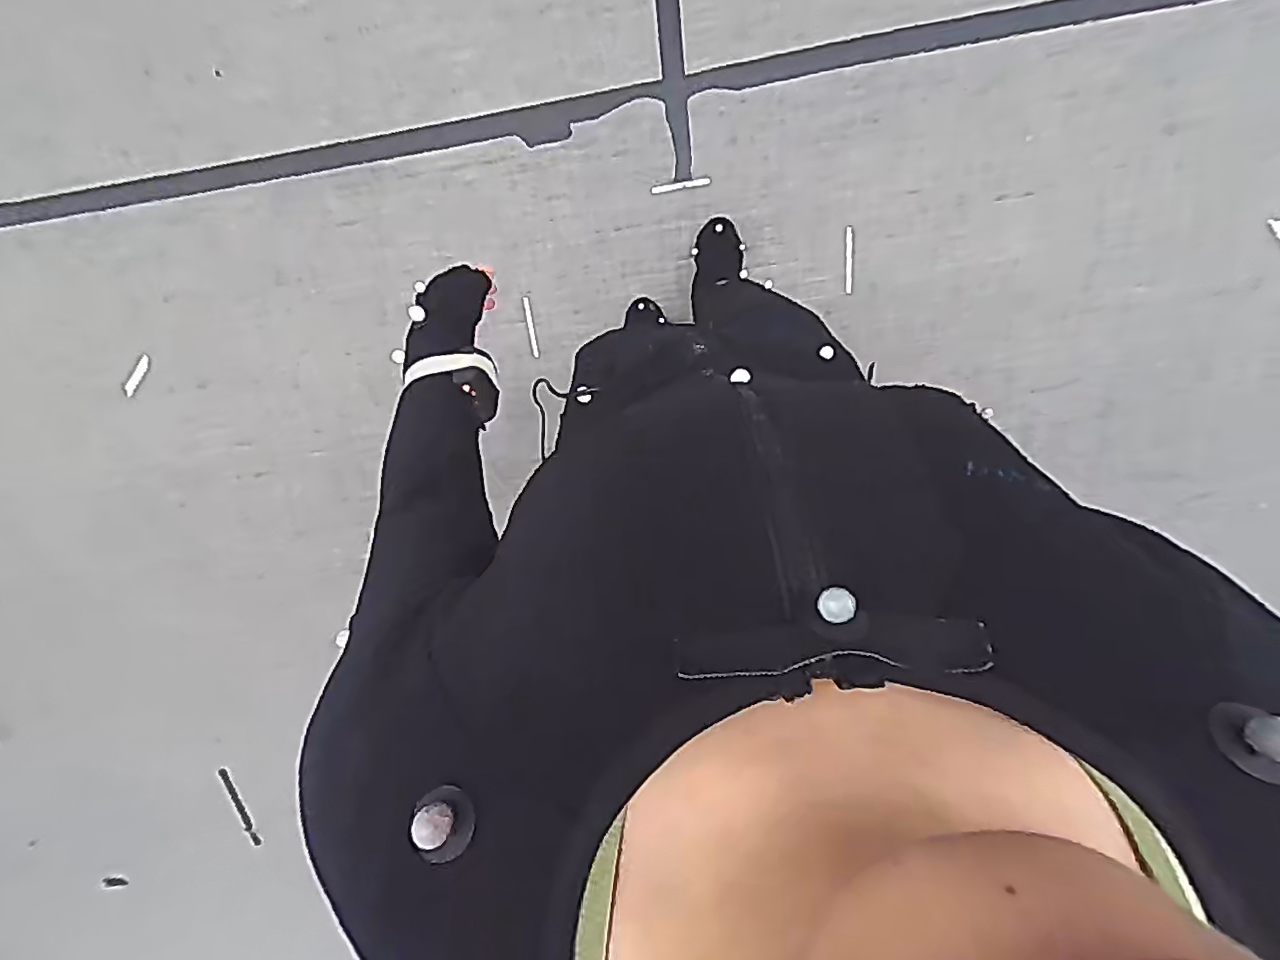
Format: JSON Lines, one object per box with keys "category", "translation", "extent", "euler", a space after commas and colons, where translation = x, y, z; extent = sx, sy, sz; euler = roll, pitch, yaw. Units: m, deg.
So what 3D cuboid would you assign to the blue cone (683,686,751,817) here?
{"category": "blue cone", "translation": [0.252, 0.837, 1.637], "extent": [0.193, 0.380, 0.192], "euler": [-25, 109, 12]}
